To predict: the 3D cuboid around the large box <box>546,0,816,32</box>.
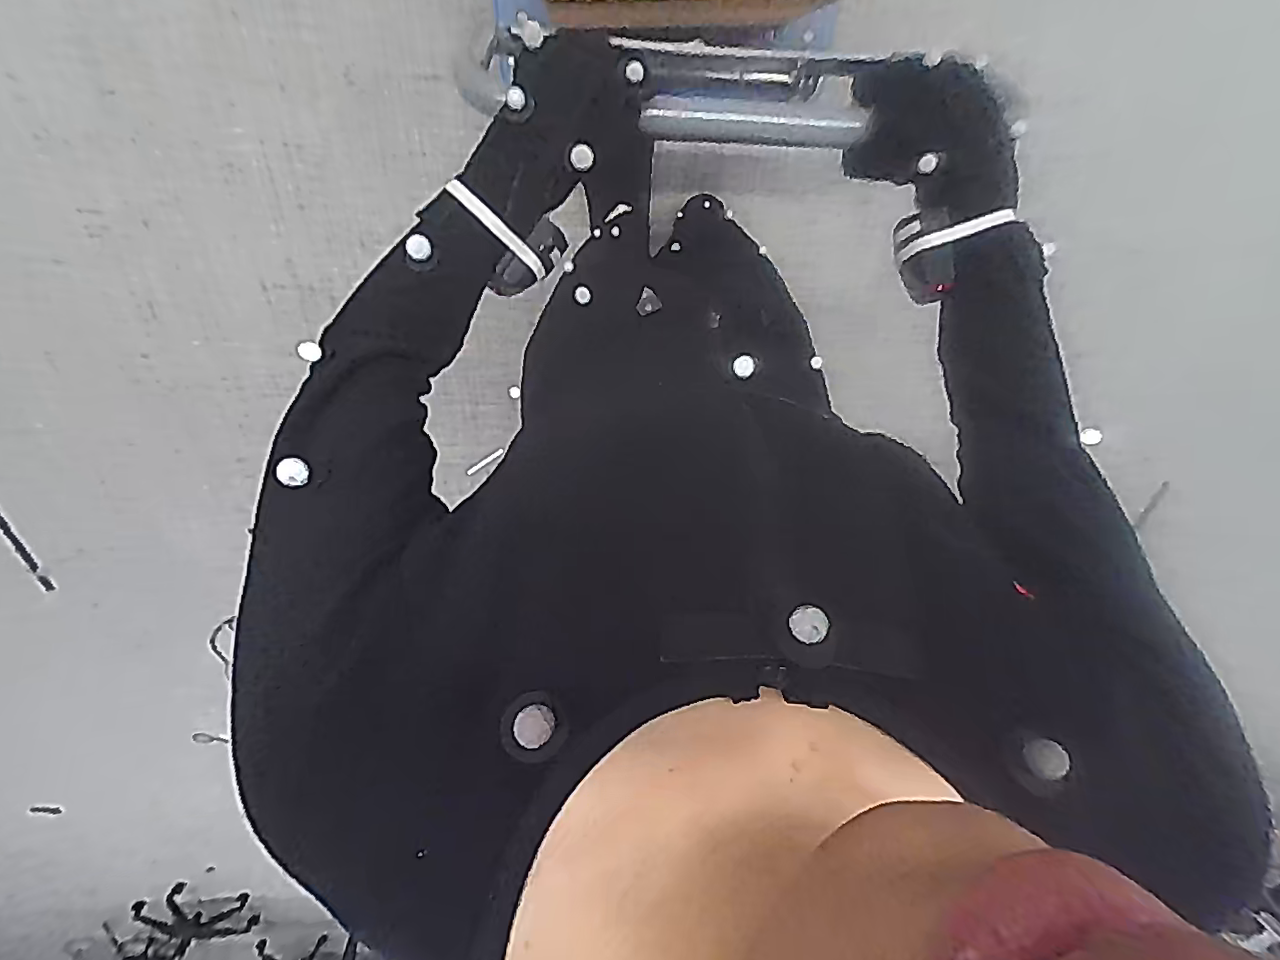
[{"bbox_3d":[0.054,-0.825,0.724,0.408,0.320,0.320,-5,125,-4],"label":"large box"}]
